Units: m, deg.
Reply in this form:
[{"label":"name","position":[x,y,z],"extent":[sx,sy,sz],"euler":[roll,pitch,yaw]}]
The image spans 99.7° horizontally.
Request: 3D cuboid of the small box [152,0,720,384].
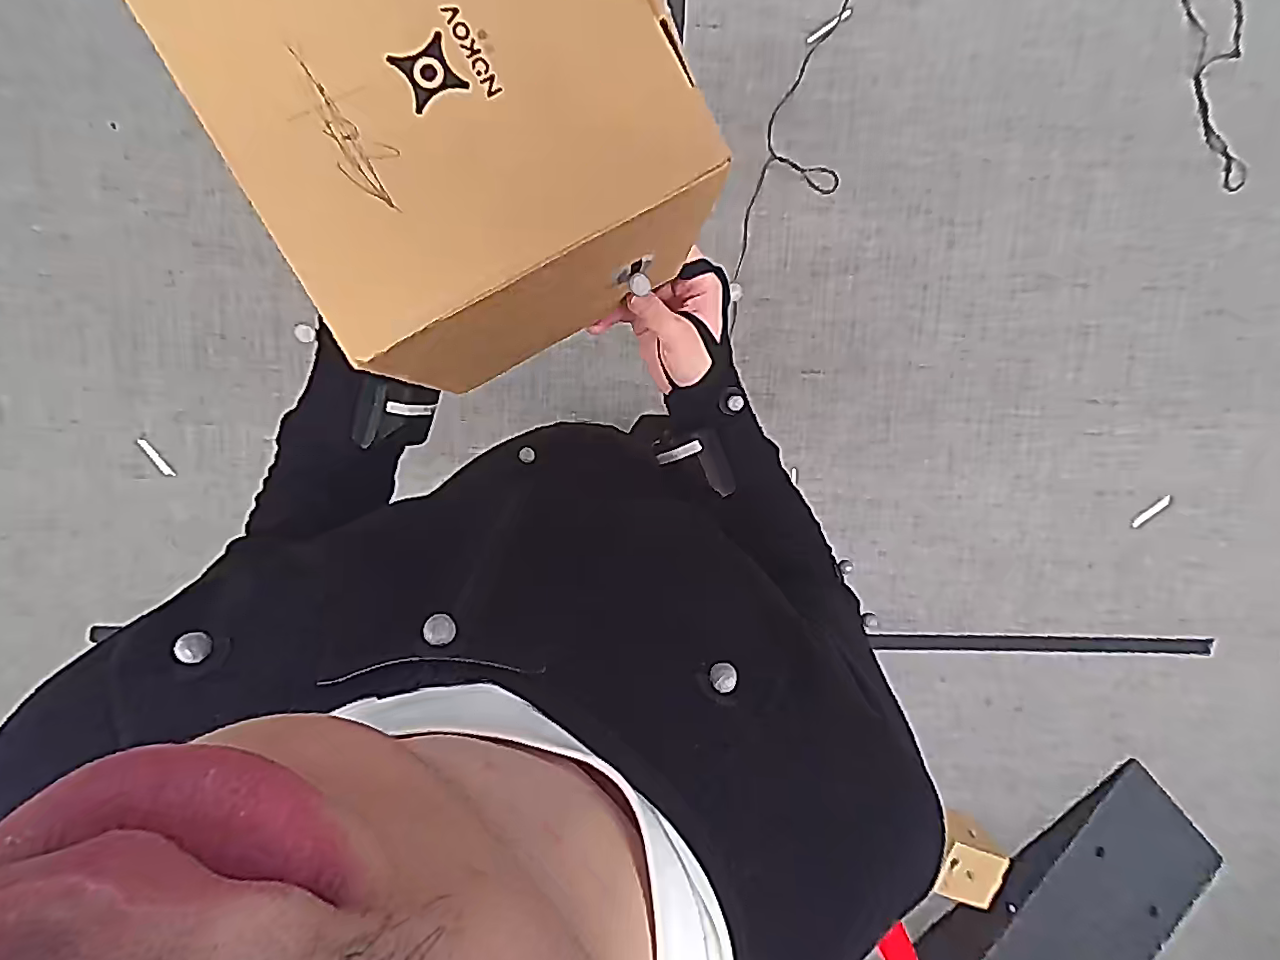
[{"label":"small box","position":[-0.084,-0.168,0.299],"extent":[0.179,0.176,0.168],"euler":[-30,96,-1]}]
